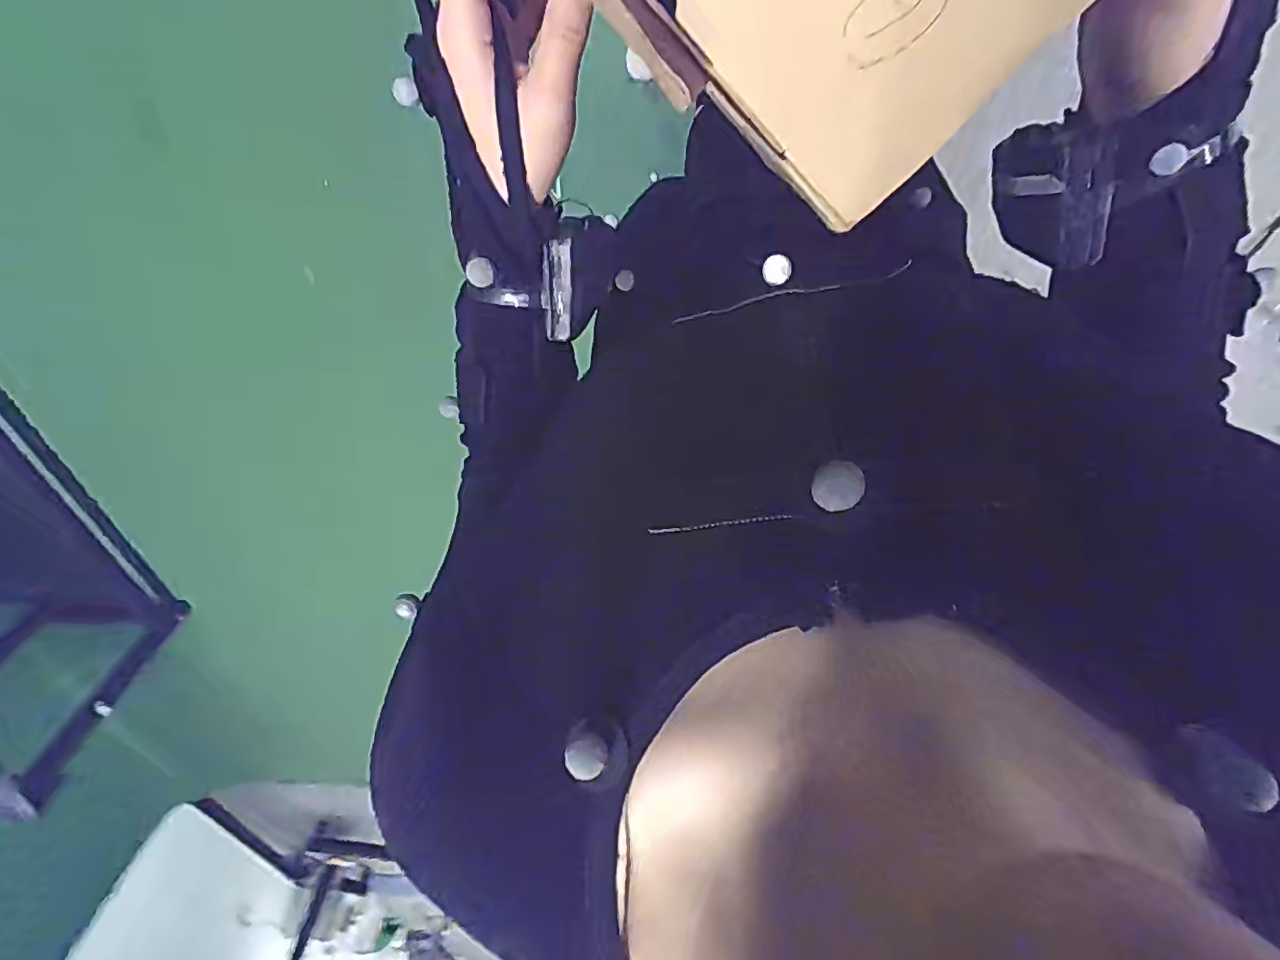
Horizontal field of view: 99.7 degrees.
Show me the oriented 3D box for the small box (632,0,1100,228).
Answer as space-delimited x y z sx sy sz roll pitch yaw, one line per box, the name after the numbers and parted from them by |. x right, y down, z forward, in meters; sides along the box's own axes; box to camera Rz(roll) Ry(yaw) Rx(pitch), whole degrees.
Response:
0.072 -0.224 0.175 0.168 0.176 0.179 37 121 -21 | small box
